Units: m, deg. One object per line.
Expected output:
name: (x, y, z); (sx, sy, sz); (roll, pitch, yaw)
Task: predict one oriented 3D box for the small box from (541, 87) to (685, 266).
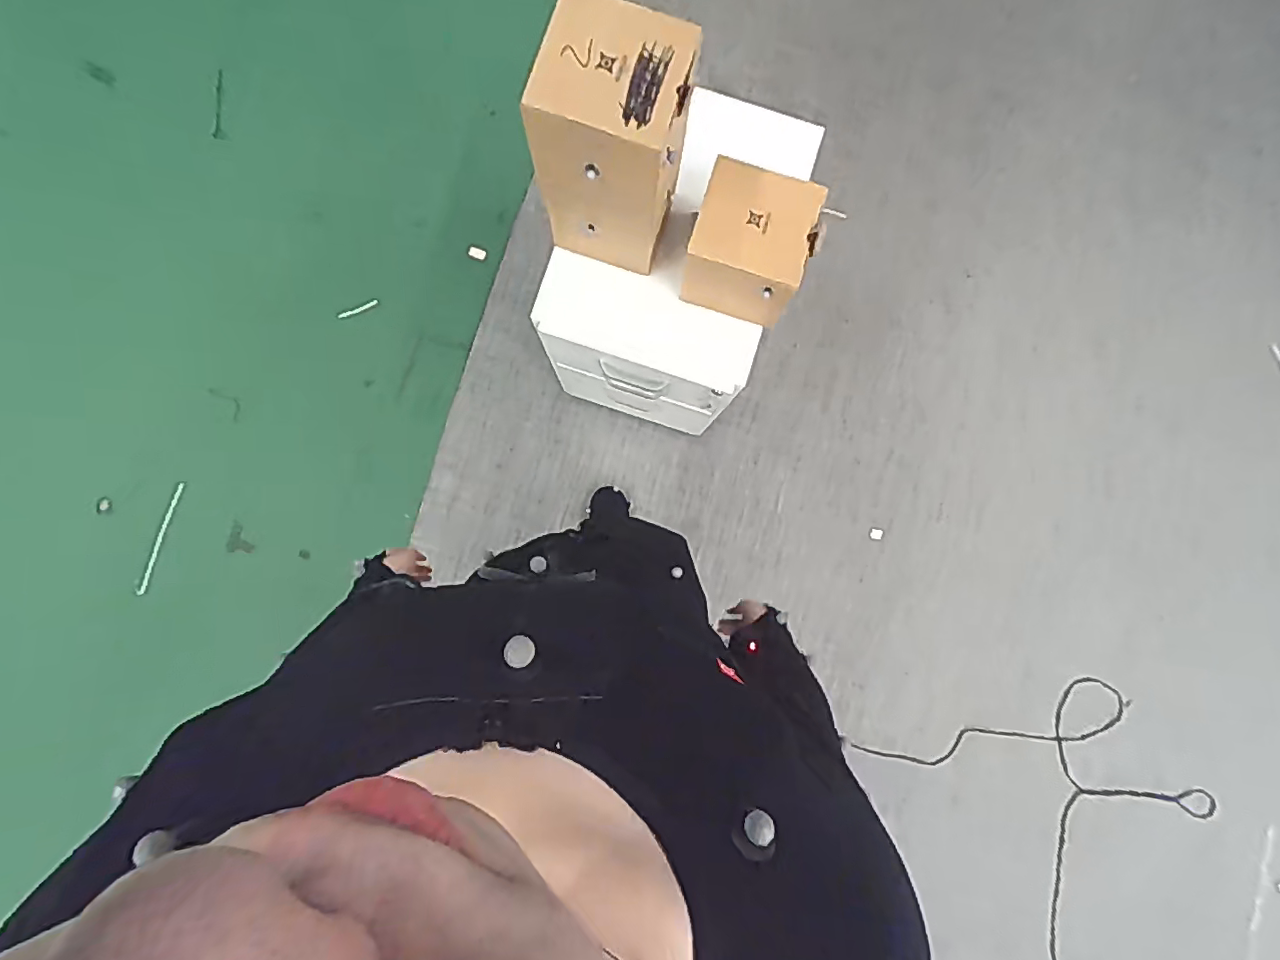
small box: (-0.042, -0.474, 0.873); (0.179, 0.176, 0.168); (17, 86, -1)
